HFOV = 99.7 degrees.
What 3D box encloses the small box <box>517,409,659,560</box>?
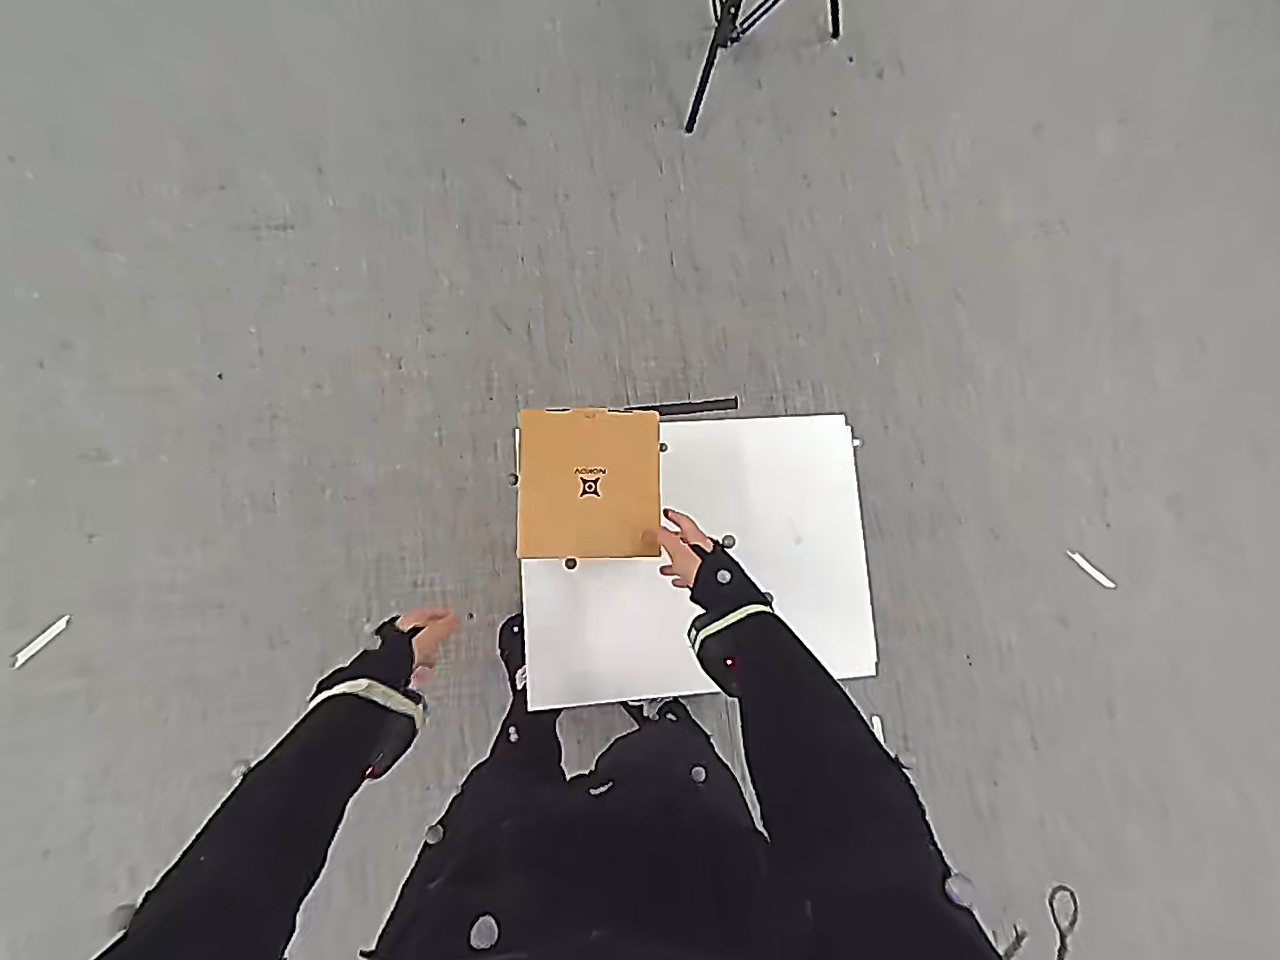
[{"bbox_3d":[-0.066,0.013,0.706,0.168,0.176,0.179,0,82,-7],"label":"small box"}]
